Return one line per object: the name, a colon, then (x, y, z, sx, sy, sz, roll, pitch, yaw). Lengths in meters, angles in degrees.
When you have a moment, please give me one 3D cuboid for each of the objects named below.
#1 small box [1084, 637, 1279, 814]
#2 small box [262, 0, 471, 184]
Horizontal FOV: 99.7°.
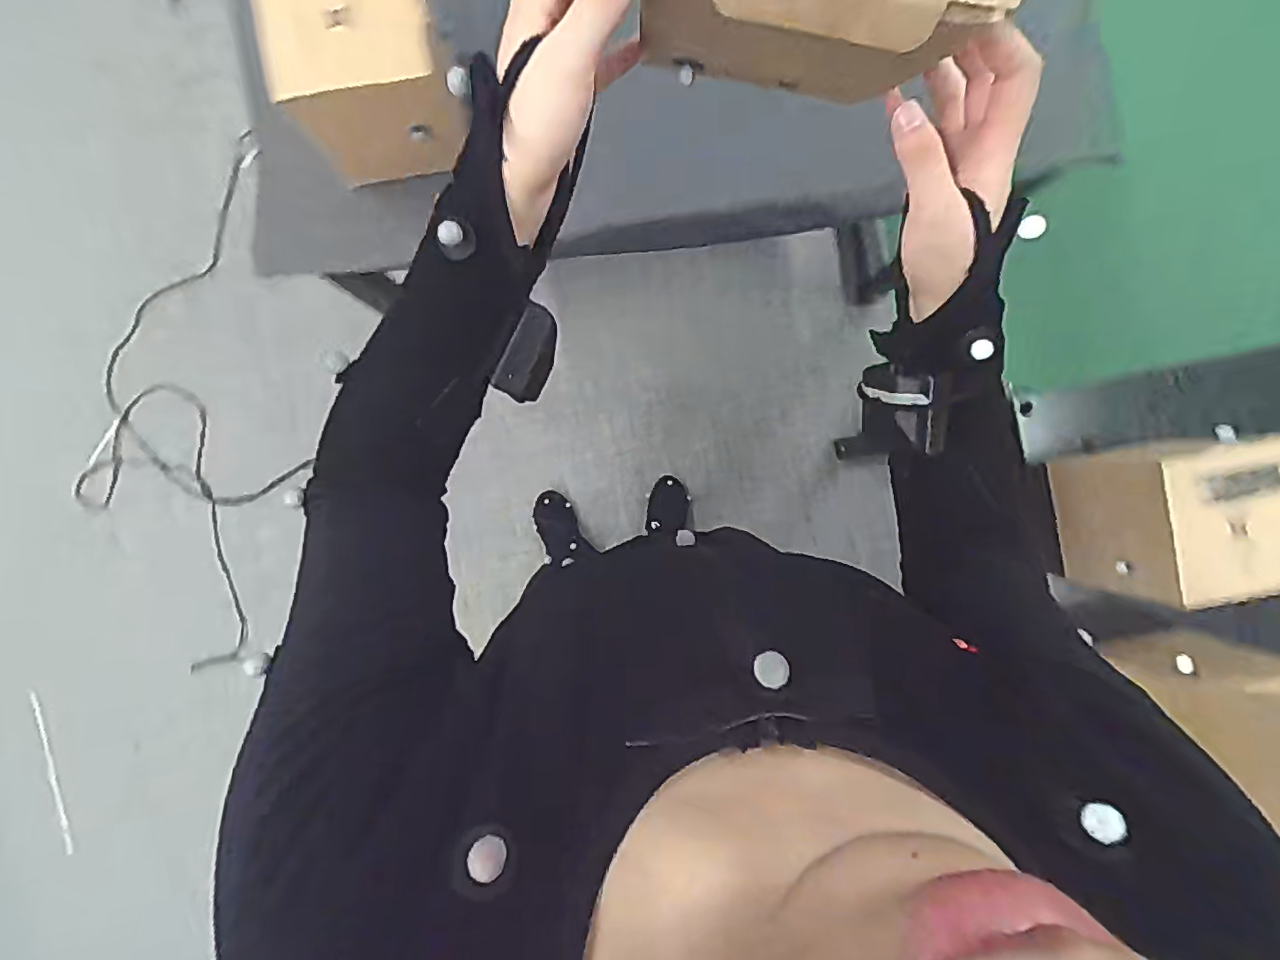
small box: (0.718, 0.313, 0.696, 0.179, 0.176, 0.168, -6, 92, -1)
small box: (-0.323, -0.504, 0.672, 0.179, 0.176, 0.168, -11, 88, 0)
